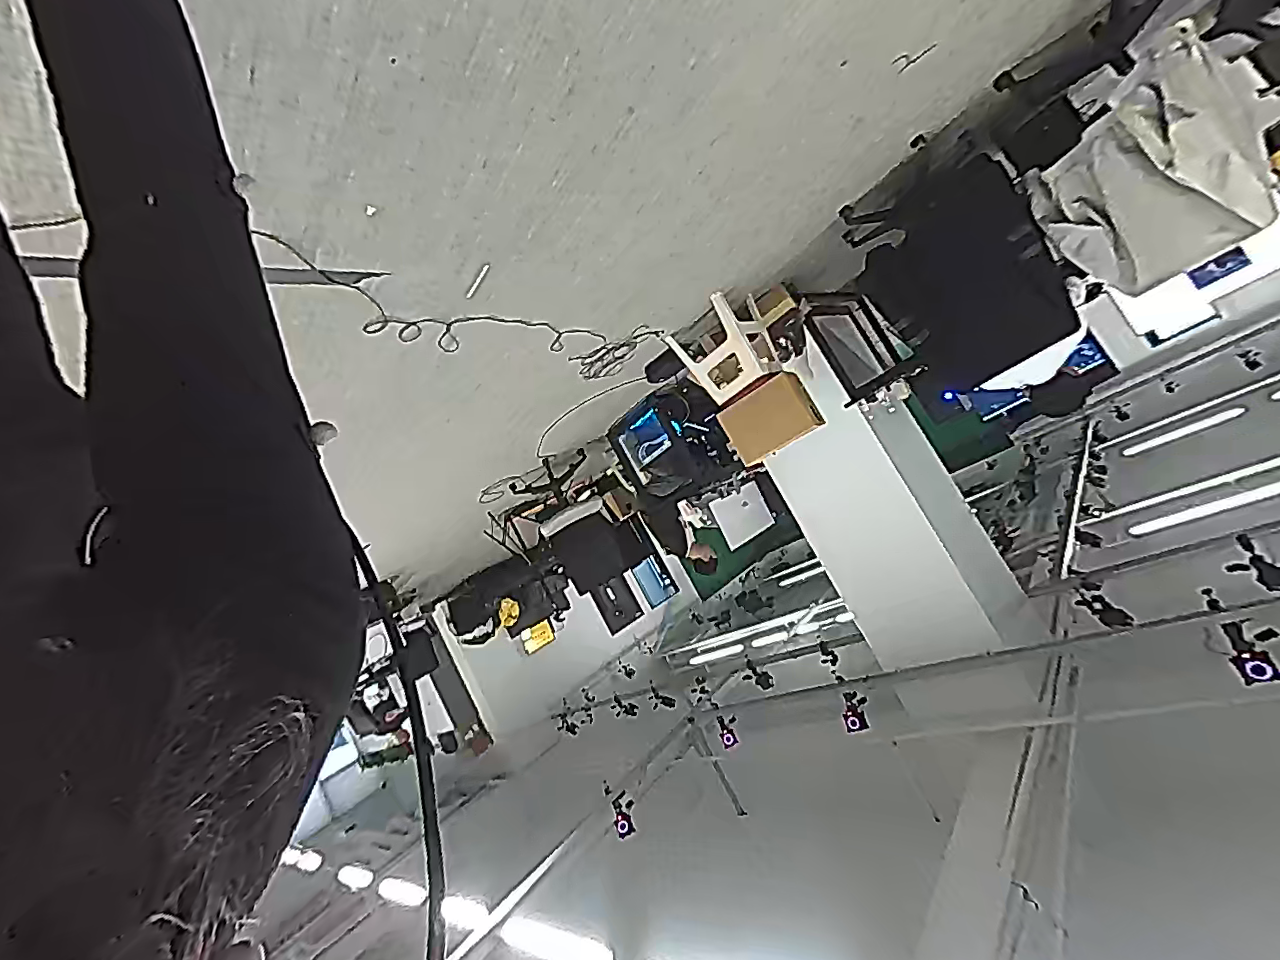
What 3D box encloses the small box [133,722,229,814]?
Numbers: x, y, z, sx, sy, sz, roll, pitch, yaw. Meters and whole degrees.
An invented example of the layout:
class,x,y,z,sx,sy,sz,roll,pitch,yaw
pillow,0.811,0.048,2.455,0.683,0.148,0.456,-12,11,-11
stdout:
class,x,y,z,sx,sy,sz,roll,pitch,yaw
small box,-1.292,0.809,1.527,0.168,0.176,0.179,-22,170,-44
